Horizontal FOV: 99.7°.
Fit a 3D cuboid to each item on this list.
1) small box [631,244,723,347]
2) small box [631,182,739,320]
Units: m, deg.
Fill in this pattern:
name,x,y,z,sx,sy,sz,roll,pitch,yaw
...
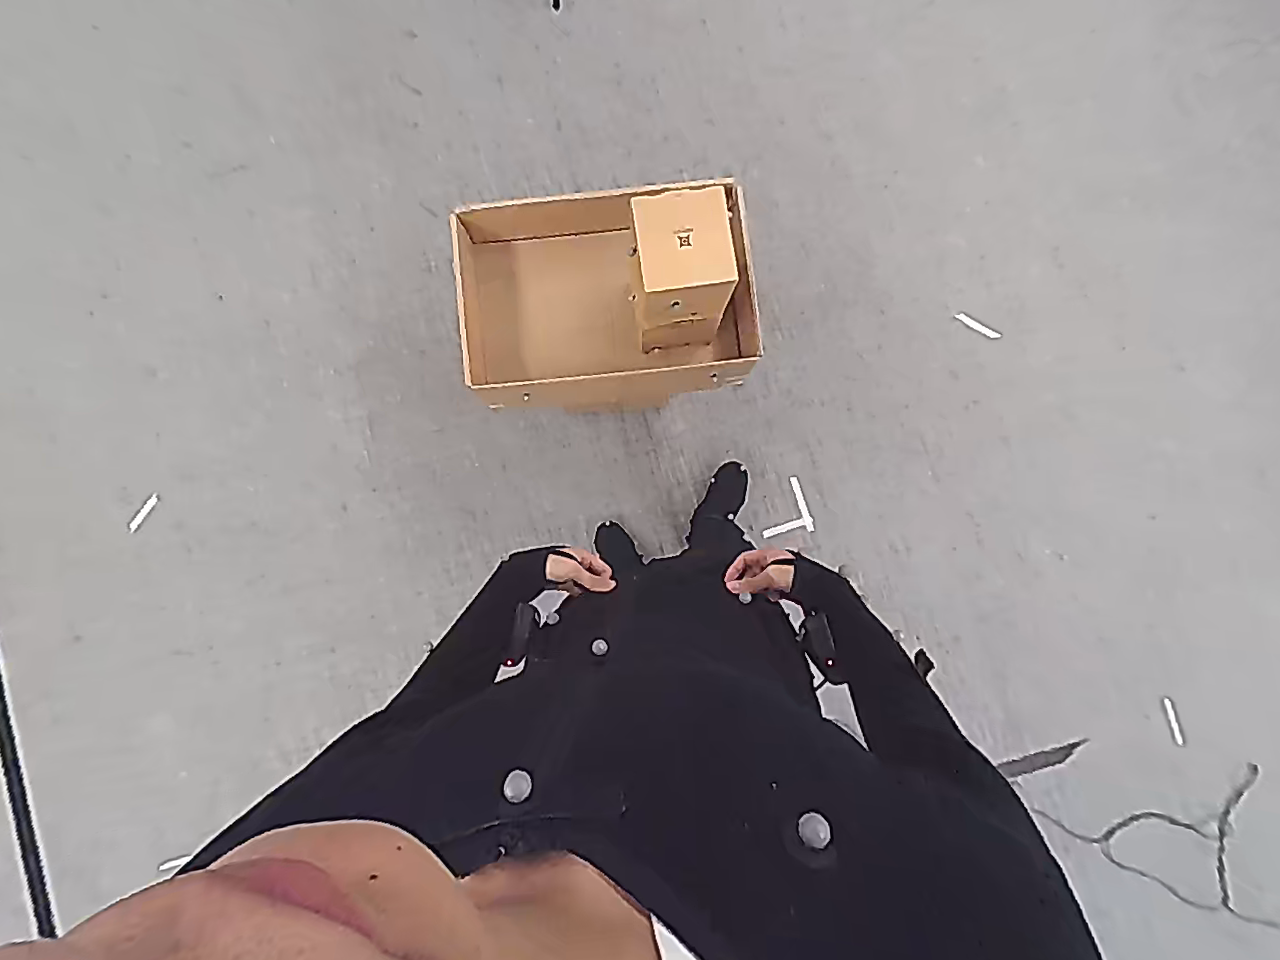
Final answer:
name,x,y,z,sx,sy,sz,roll,pitch,yaw
small box,0.075,-0.395,1.158,0.168,0.176,0.179,-9,85,-1
small box,0.077,-0.408,0.996,0.168,0.176,0.179,-9,85,-1
